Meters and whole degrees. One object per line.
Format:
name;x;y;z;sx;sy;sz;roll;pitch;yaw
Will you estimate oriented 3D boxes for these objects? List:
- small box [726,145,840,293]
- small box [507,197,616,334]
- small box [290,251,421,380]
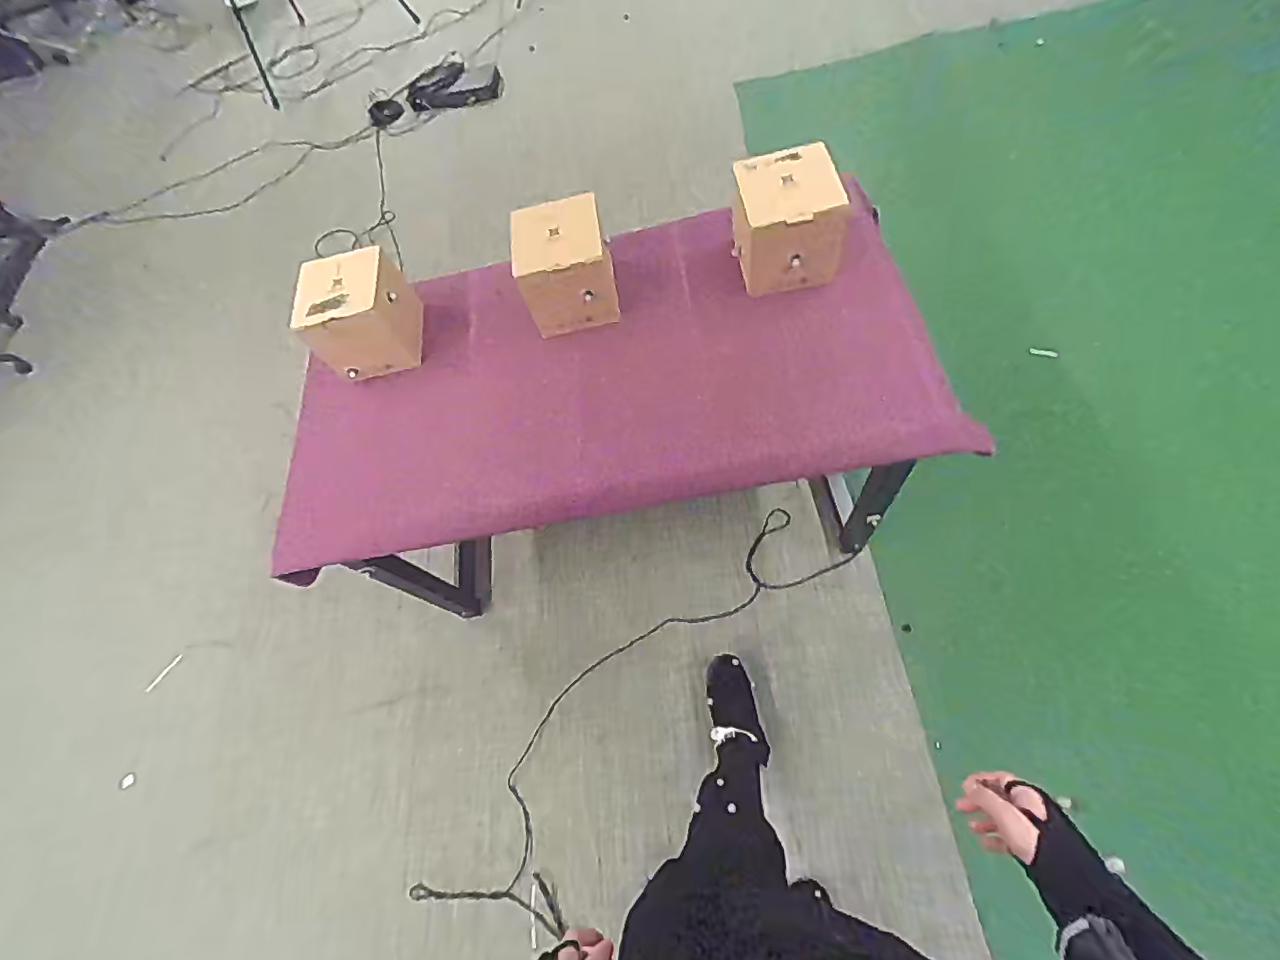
small box;0.259;-0.472;1.005;0.168;0.176;0.179;-10;64;6
small box;-0.149;-0.406;1.055;0.168;0.176;0.179;-11;63;5
small box;-0.562;-0.320;1.091;0.168;0.176;0.179;-12;63;5
